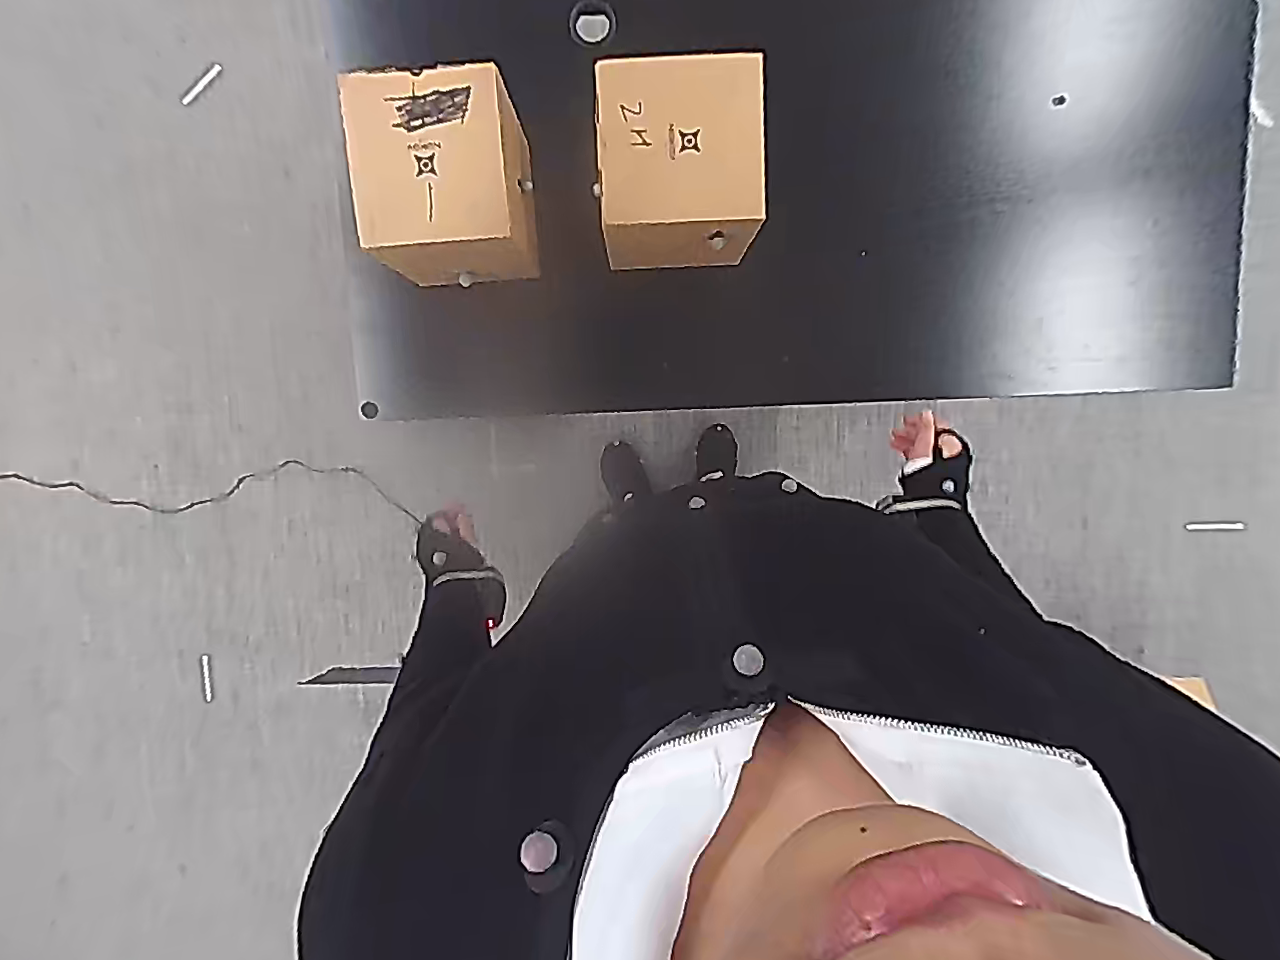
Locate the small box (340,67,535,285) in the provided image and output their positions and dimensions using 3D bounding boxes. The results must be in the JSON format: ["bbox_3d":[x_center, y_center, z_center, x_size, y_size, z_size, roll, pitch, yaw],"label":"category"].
[{"bbox_3d":[-0.228,-0.350,0.652,0.168,0.176,0.179,-4,97,1],"label":"small box"}]

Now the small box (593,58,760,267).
[{"bbox_3d":[0.039,-0.364,0.649,0.179,0.176,0.168,-2,96,1],"label":"small box"}]
